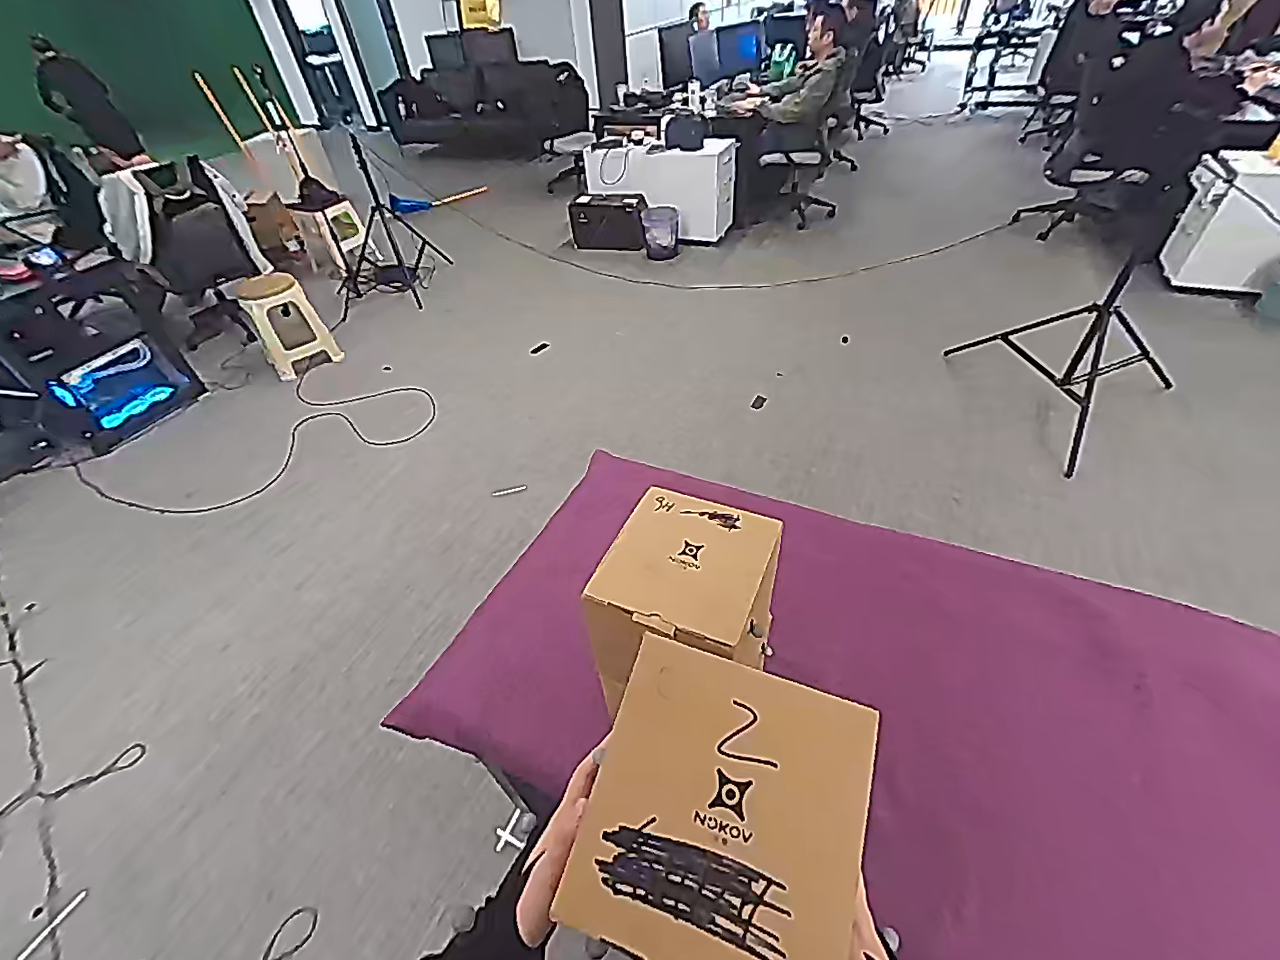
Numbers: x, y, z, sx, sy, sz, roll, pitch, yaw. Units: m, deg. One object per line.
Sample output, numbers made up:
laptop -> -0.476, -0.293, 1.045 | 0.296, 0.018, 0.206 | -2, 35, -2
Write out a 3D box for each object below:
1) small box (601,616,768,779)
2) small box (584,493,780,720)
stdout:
small box -> 0.067, 0.272, 0.744 | 0.168, 0.176, 0.179 | 16, 46, 22
small box -> 0.056, 0.148, 0.637 | 0.168, 0.176, 0.179 | 15, 47, 20
